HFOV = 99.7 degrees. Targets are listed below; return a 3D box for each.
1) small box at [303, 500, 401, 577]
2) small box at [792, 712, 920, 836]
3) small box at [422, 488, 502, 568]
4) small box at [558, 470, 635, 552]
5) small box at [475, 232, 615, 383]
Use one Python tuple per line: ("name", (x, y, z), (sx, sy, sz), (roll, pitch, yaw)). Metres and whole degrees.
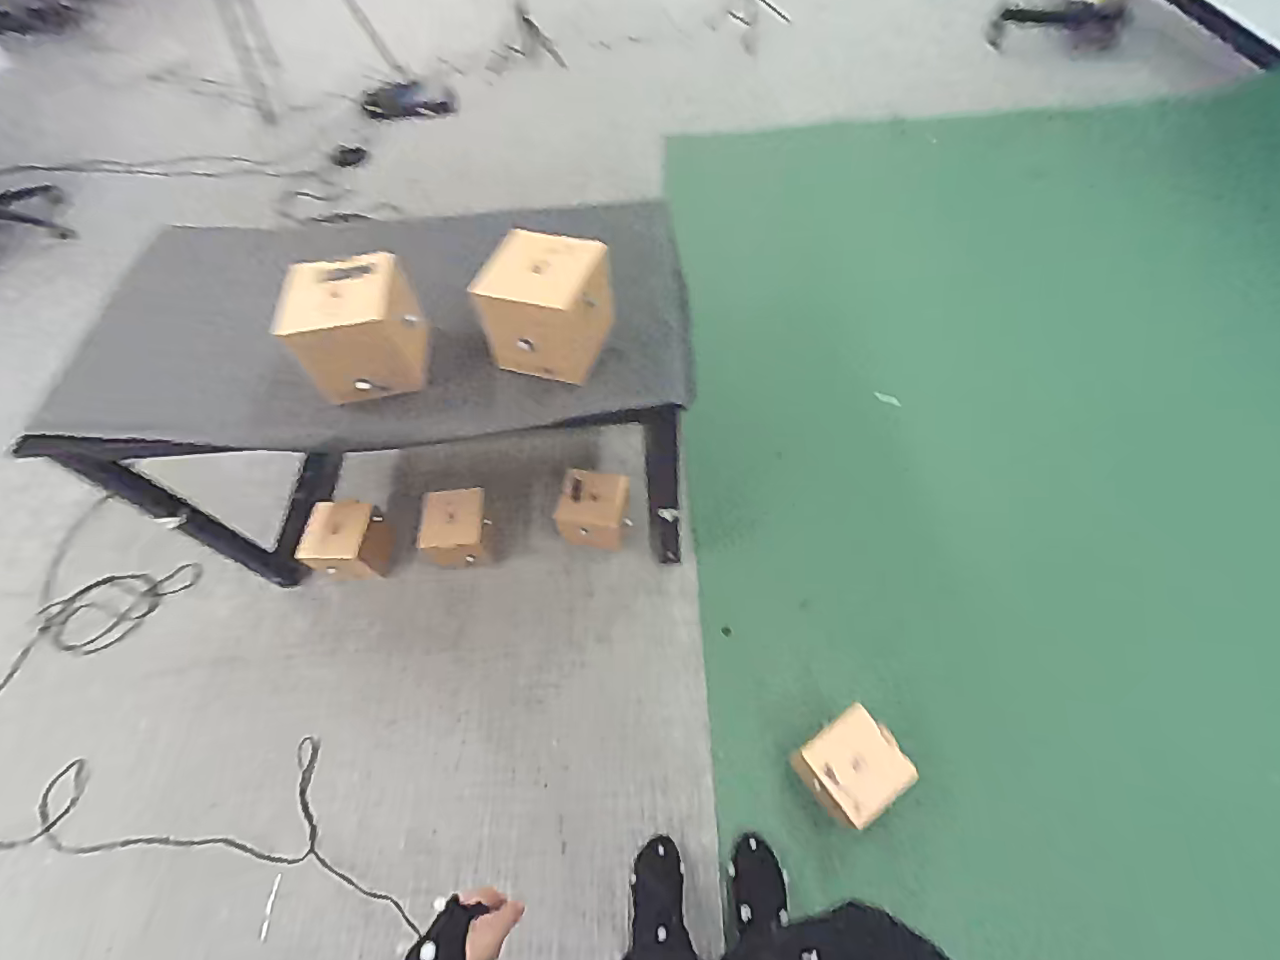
("small box", (-0.820, 0.173, 1.561), (0.168, 0.176, 0.179), (0, 58, 5))
("small box", (0.459, 0.638, 1.180), (0.179, 0.176, 0.168), (-30, 61, -15))
("small box", (-0.503, 0.143, 1.552), (0.168, 0.176, 0.179), (-5, 58, 1))
("small box", (-0.118, 0.092, 1.554), (0.179, 0.176, 0.168), (9, 60, 8))
("small box", (-0.149, -0.294, 0.933), (0.168, 0.176, 0.179), (15, 58, 13))
